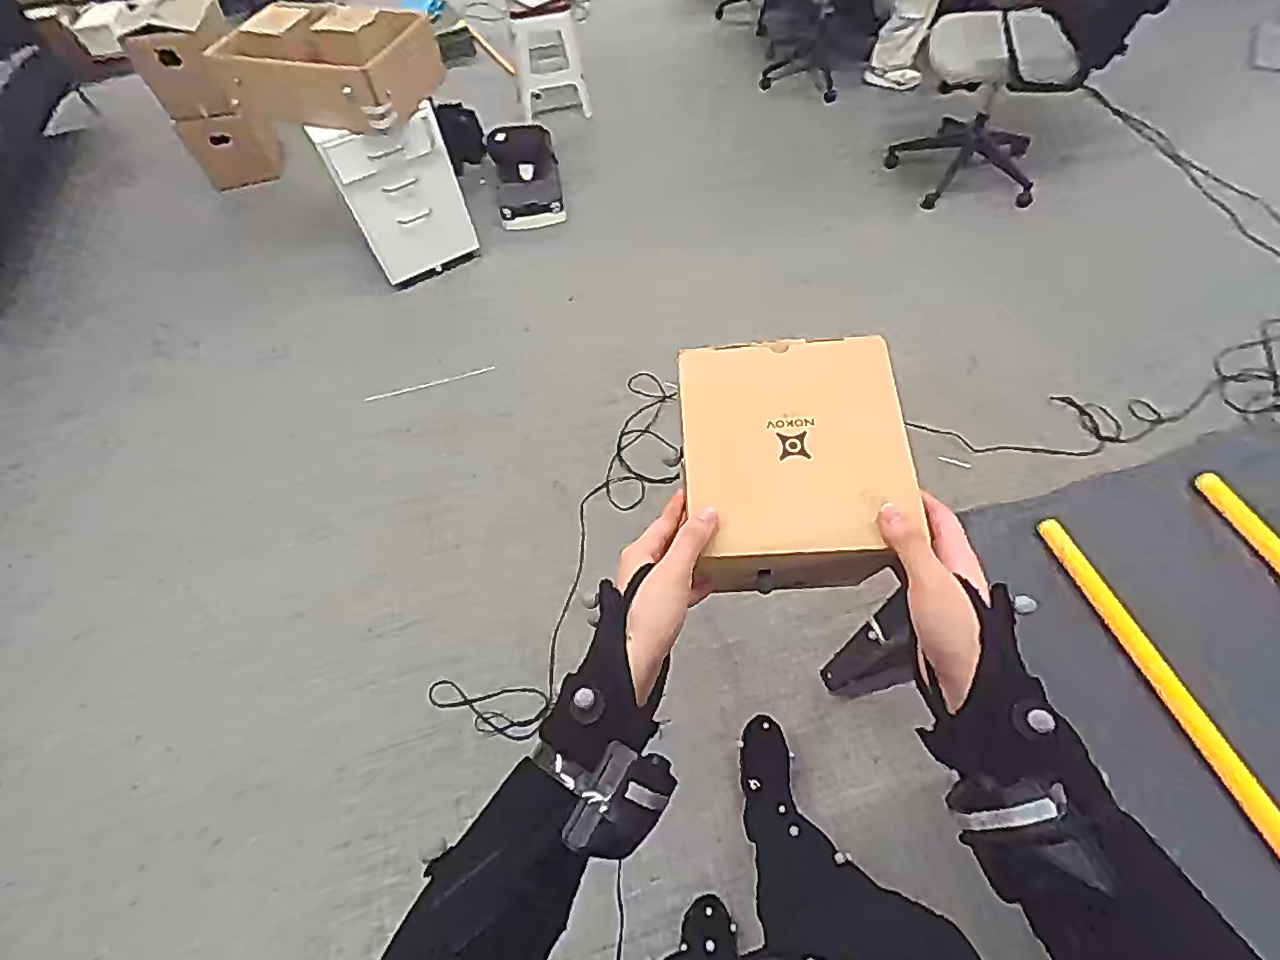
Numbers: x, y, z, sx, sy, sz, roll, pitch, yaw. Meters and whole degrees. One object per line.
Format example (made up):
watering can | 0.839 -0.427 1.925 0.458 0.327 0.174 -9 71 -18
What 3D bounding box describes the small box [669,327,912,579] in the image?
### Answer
small box | 0.116 -0.010 0.488 0.168 0.176 0.179 -4 68 4
